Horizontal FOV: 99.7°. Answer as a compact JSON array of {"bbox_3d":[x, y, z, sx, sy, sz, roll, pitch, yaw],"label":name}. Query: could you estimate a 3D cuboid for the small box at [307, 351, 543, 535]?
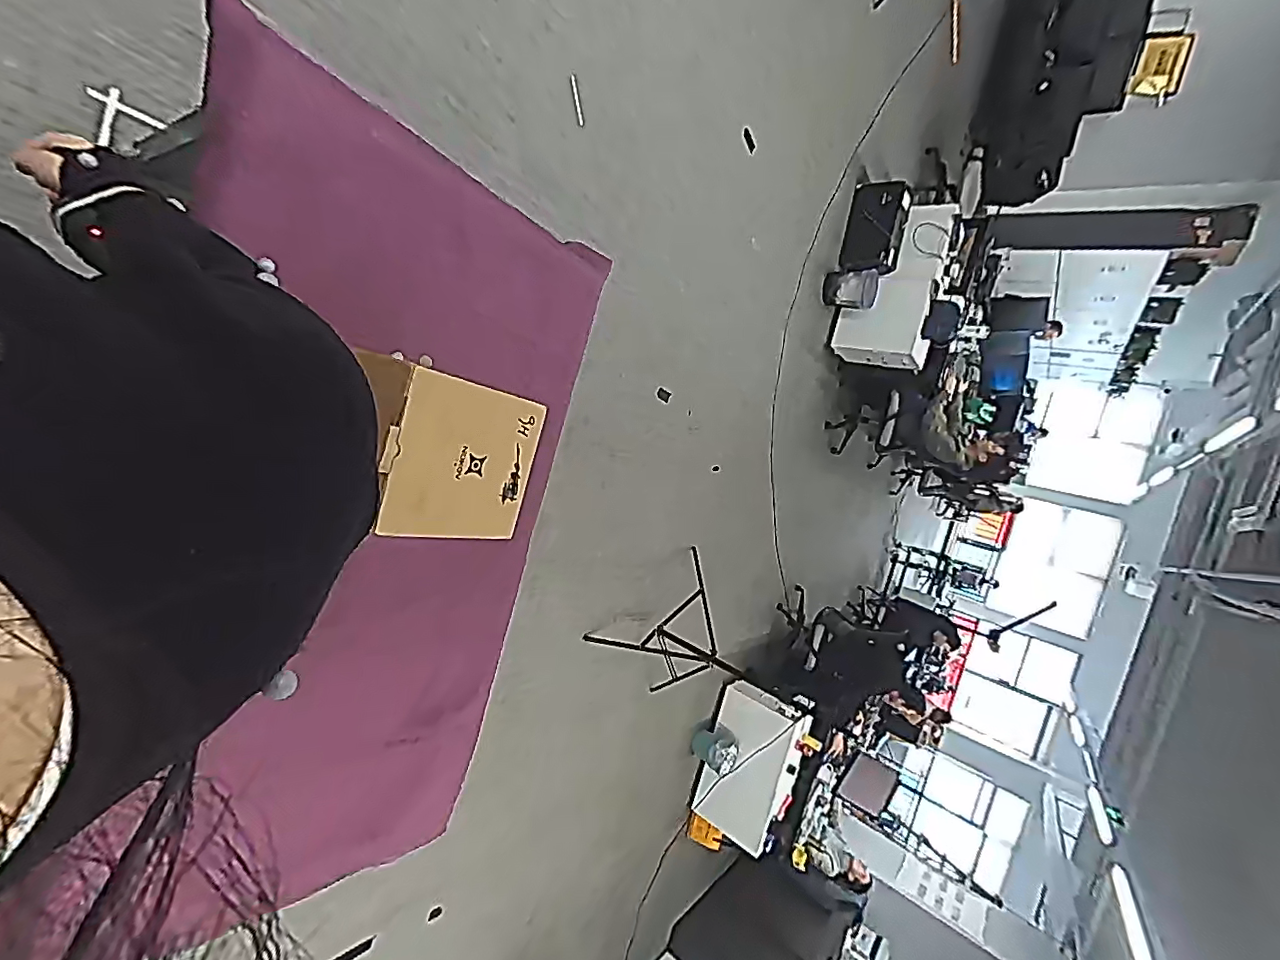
[{"bbox_3d":[-0.247,-0.042,0.622,0.179,0.176,0.168,12,95,-55],"label":"small box"}]
